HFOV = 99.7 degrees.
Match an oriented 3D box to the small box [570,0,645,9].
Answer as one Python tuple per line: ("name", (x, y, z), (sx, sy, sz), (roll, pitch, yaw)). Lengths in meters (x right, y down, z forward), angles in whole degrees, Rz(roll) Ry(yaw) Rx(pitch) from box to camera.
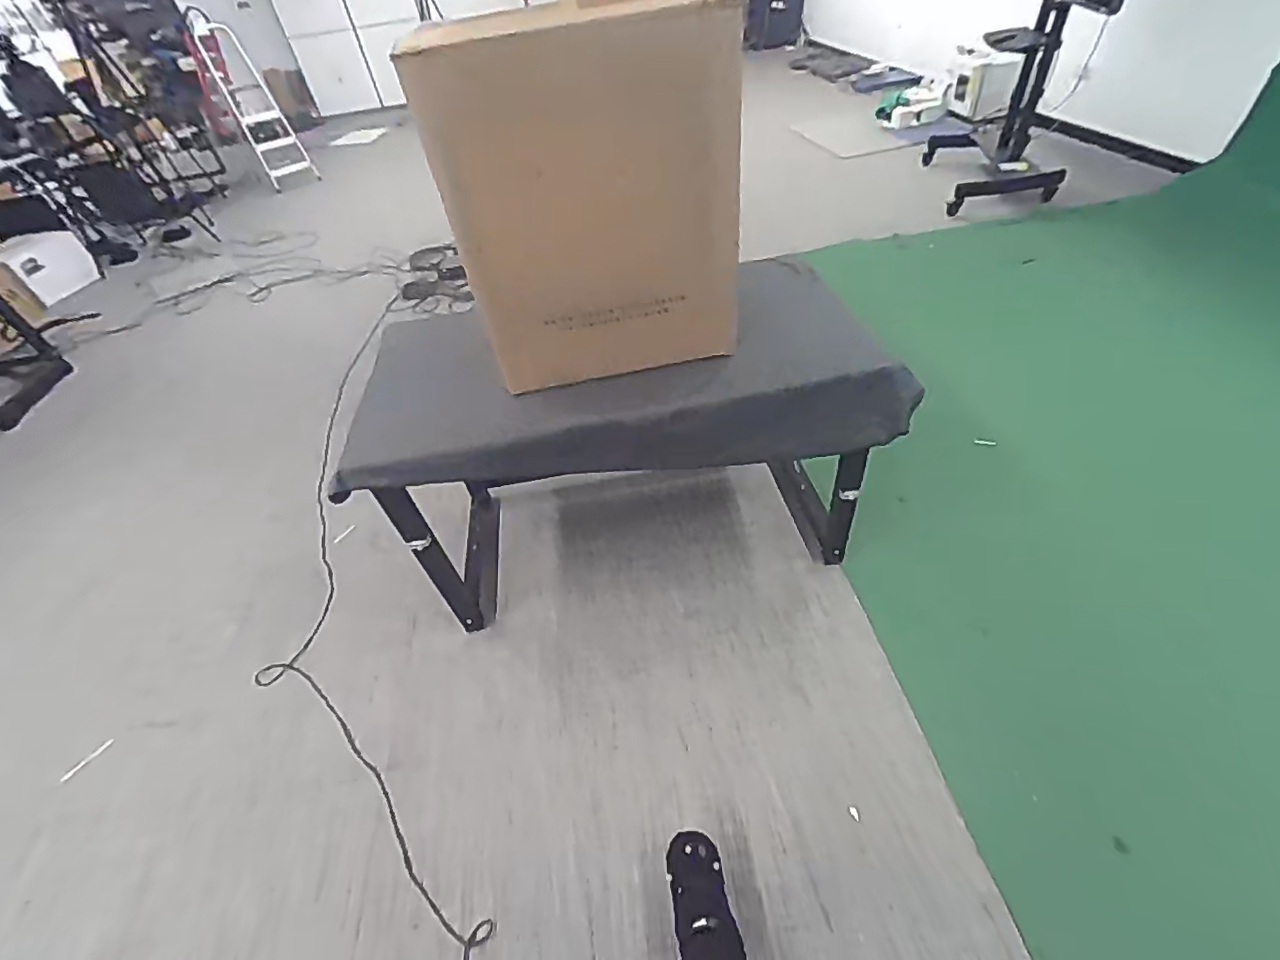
("small box", (-0.045, -0.871, 0.853), (0.168, 0.176, 0.179), (-14, 48, -4))
